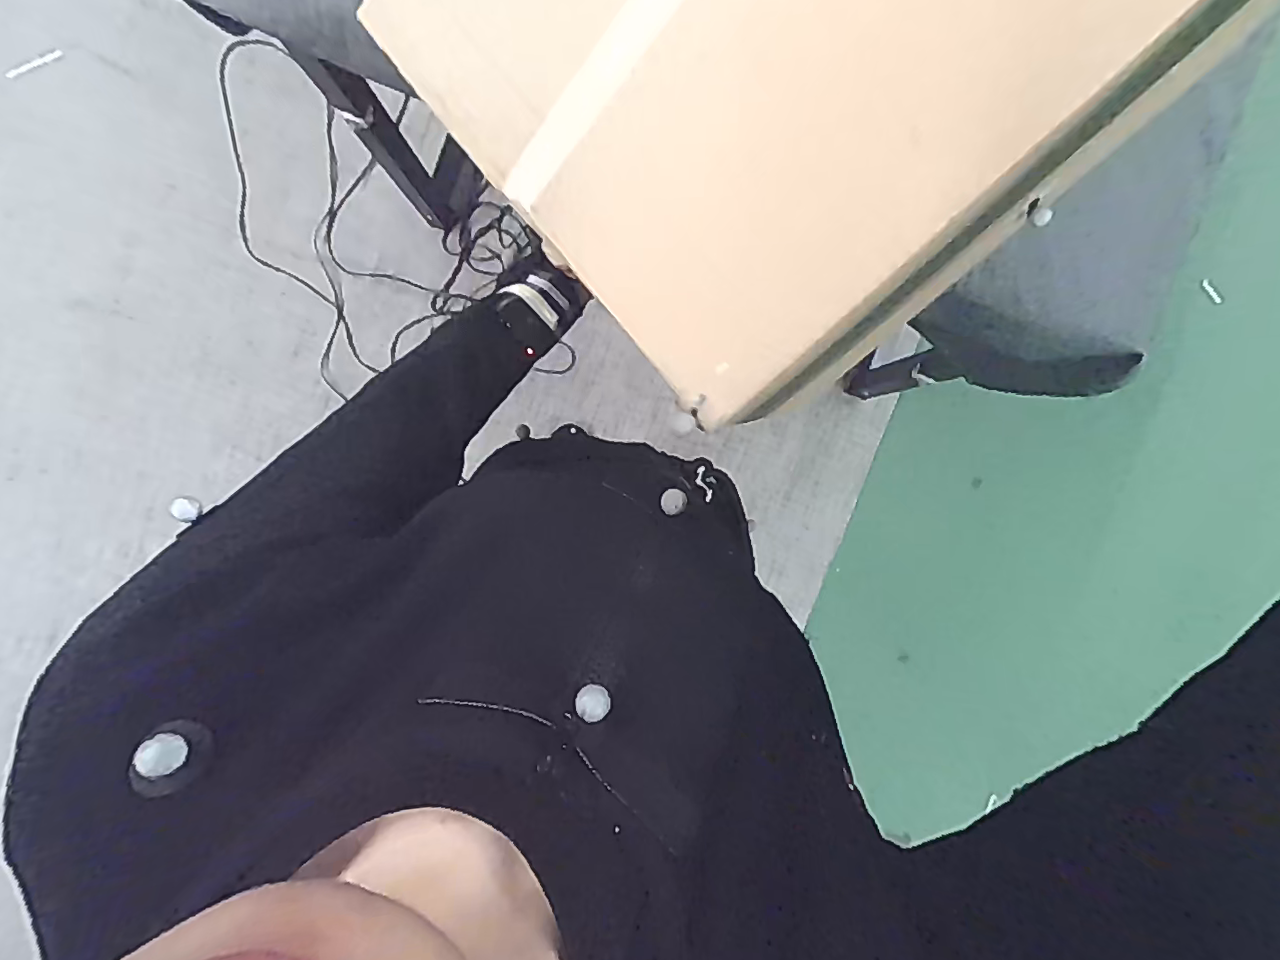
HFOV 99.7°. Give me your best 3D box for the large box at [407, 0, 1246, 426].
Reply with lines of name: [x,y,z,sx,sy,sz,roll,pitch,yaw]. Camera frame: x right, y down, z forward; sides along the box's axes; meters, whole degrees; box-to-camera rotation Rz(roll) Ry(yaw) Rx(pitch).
large box: [0.143,-0.292,0.358,0.408,0.320,0.320,-44,80,23]
